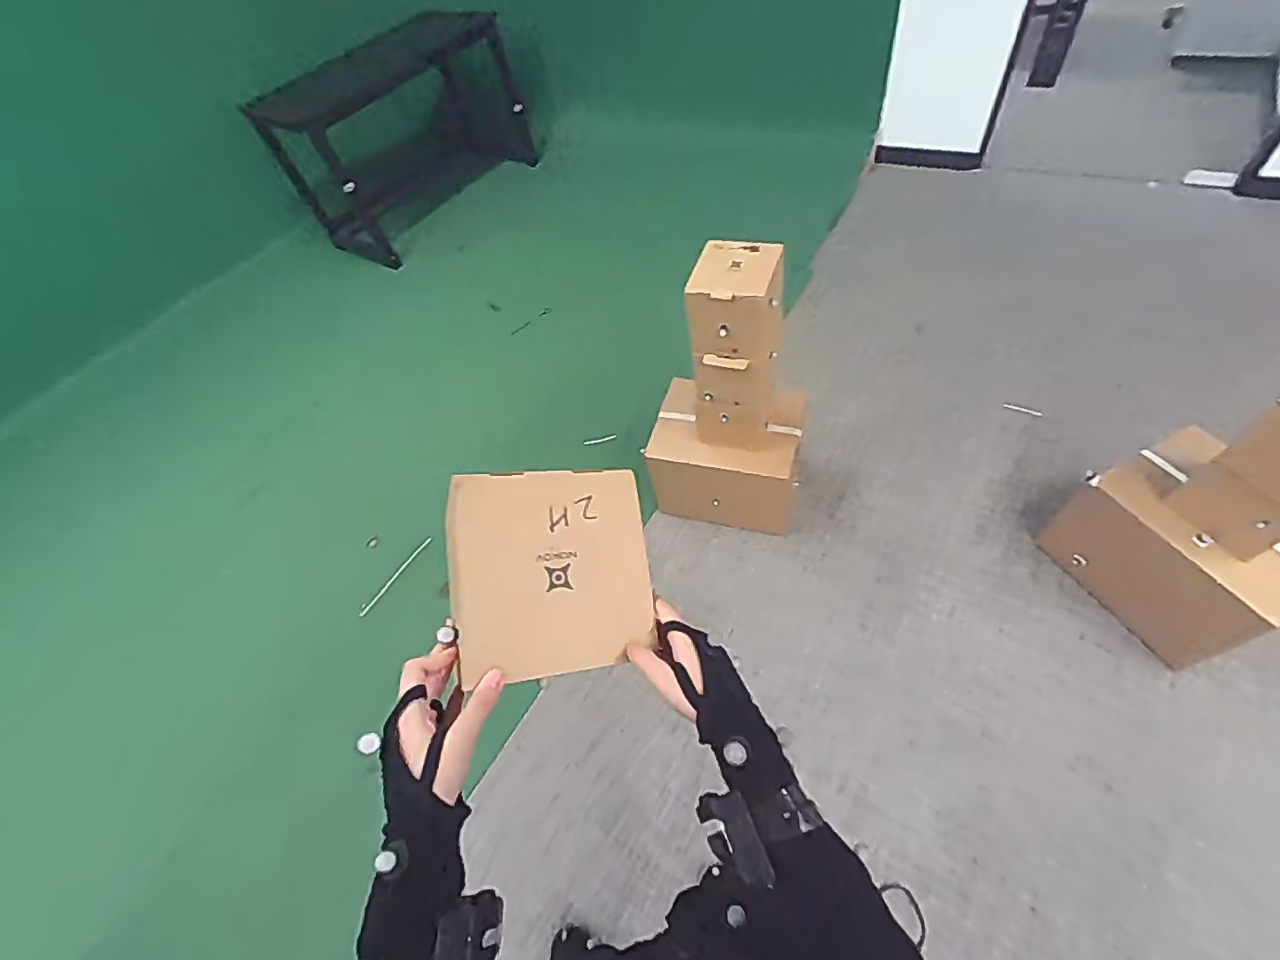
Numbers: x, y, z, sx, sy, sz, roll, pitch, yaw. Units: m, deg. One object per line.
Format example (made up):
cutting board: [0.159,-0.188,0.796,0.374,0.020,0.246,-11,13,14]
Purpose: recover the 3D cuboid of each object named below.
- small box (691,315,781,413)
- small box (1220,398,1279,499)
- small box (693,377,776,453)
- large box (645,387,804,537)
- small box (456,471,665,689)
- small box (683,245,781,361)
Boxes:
small box: [0.237,-0.286,1.305,0.168,0.176,0.179,14,60,21]
small box: [1.199,-0.066,0.938,0.168,0.176,0.179,-27,55,-8]
small box: [0.255,-0.191,1.437,0.179,0.176,0.168,12,60,20]
large box: [0.271,-0.054,1.641,0.408,0.320,0.320,8,56,19]
small box: [-0.091,0.099,0.534,0.168,0.176,0.179,-1,73,-22]
small box: [0.205,-0.382,1.175,0.168,0.176,0.179,13,61,20]
